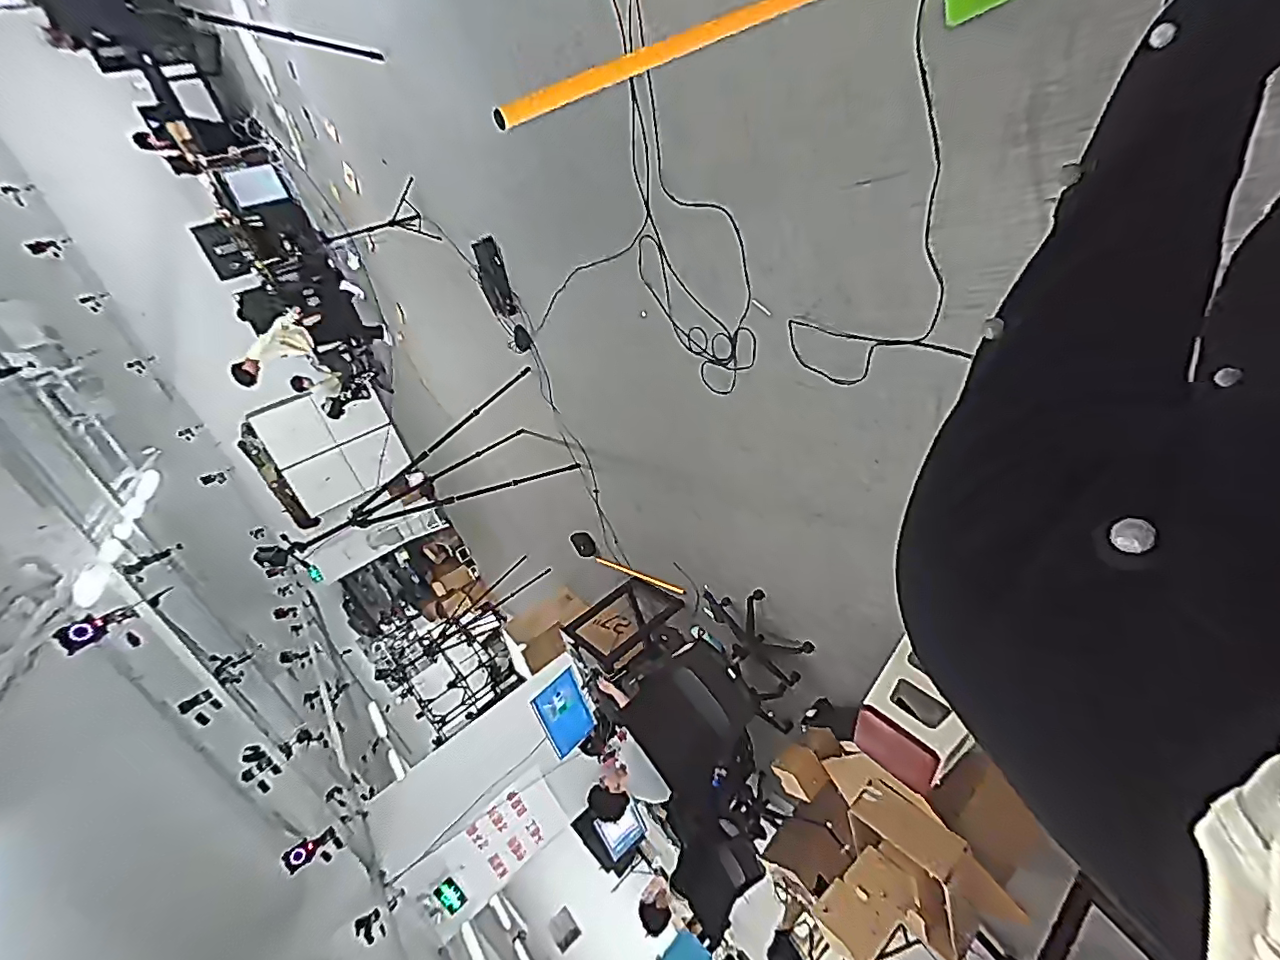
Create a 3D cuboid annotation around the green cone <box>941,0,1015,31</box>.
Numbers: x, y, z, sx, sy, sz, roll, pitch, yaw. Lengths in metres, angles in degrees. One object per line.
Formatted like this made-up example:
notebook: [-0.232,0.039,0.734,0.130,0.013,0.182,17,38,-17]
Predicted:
green cone: [0.592,-1.011,1.046,0.202,0.368,0.200,16,131,54]
